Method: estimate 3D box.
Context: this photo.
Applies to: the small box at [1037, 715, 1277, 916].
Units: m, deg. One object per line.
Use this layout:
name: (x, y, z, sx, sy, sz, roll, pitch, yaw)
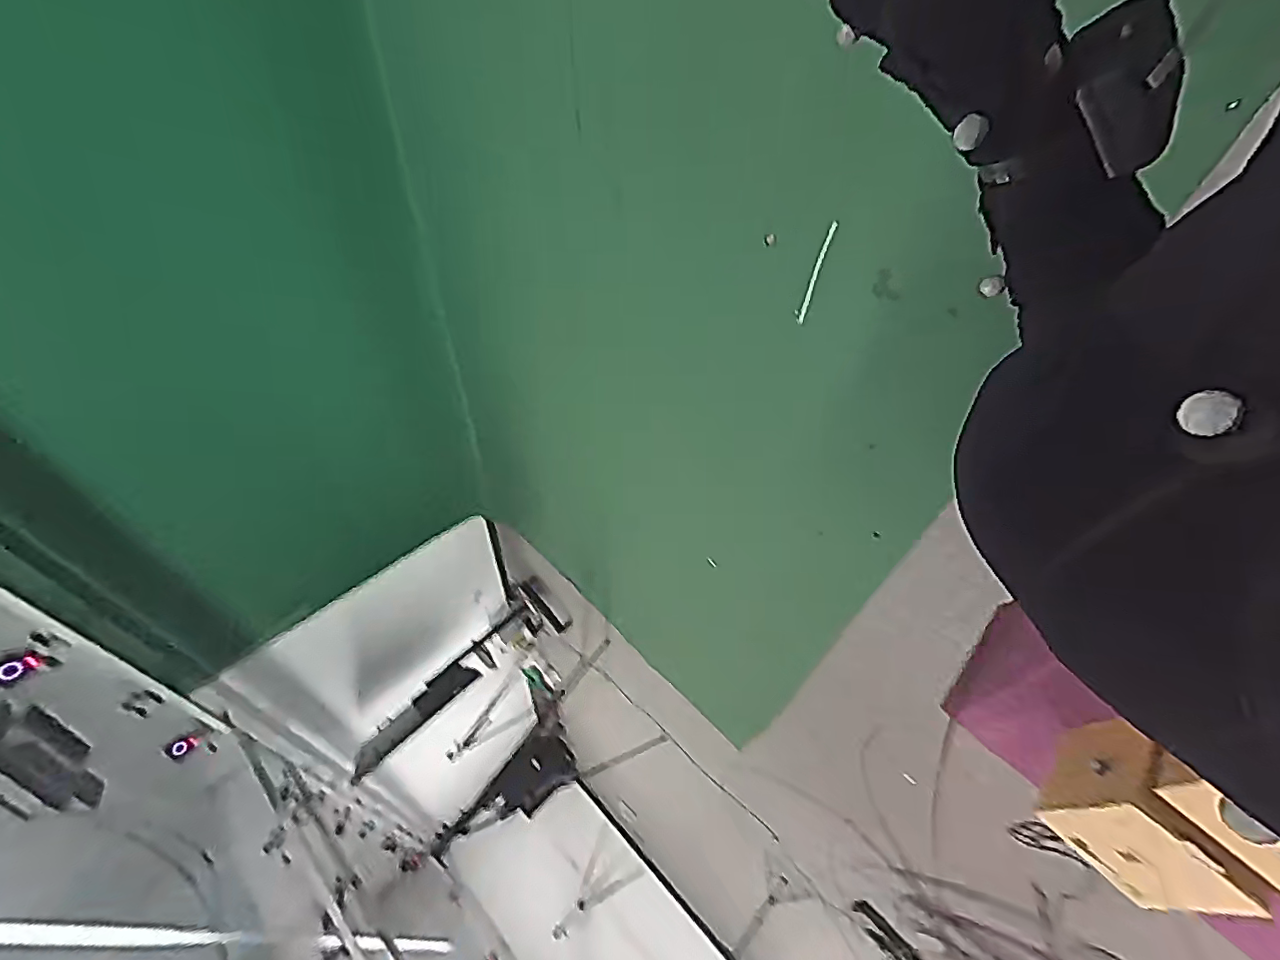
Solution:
small box: (0.720, 0.463, 0.761, 0.168, 0.176, 0.179, 43, 147, 18)
